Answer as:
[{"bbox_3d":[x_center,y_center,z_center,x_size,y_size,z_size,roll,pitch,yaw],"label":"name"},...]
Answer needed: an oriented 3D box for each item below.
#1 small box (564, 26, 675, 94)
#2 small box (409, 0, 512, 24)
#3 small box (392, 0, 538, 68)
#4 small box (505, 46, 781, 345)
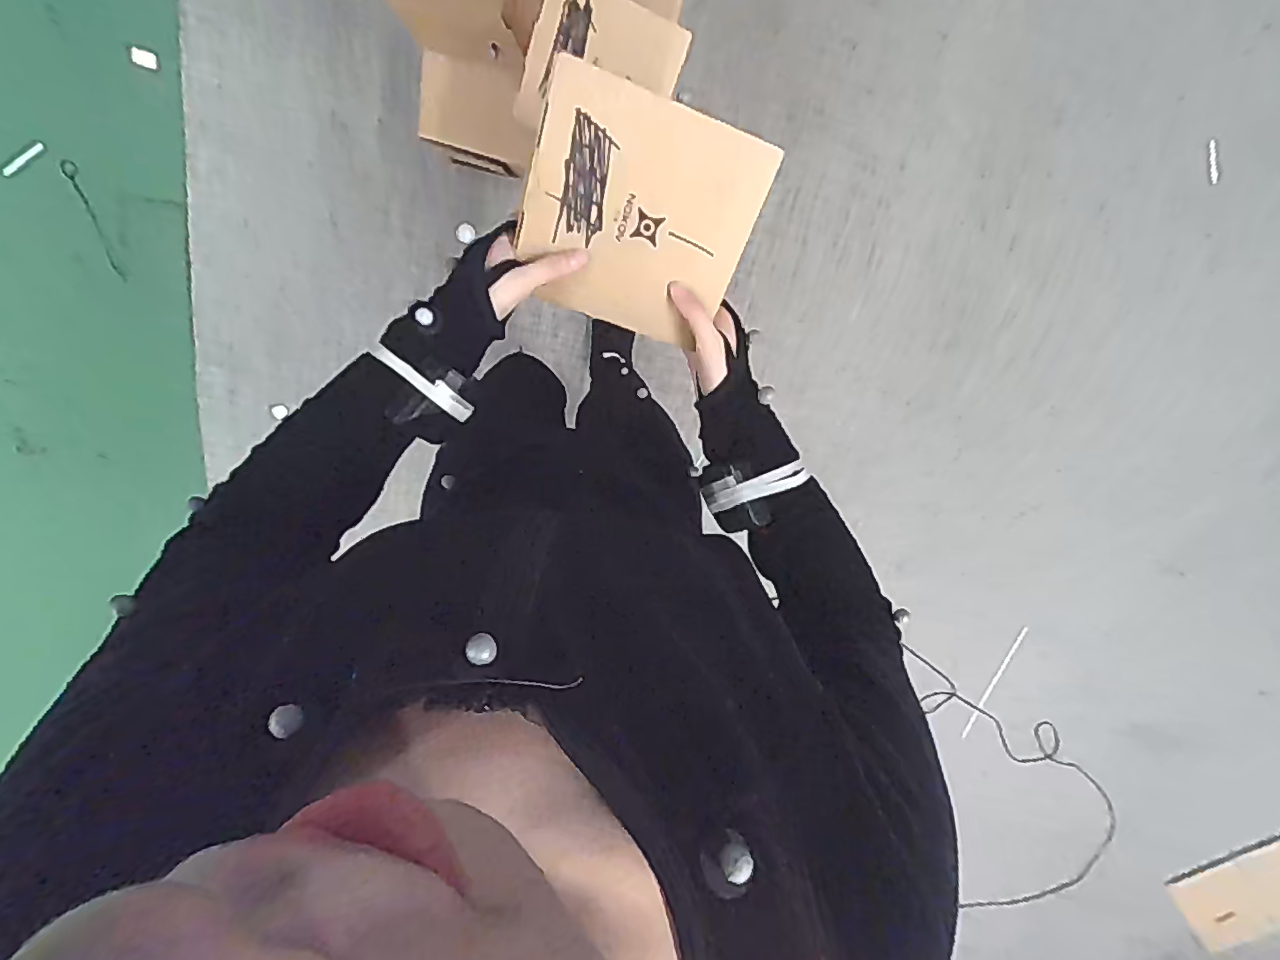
[{"bbox_3d":[-0.055,-0.571,0.876,0.168,0.176,0.179,16,109,-8],"label":"small box"},{"bbox_3d":[-0.249,-0.700,0.651,0.179,0.176,0.168,11,108,-7],"label":"small box"},{"bbox_3d":[-0.248,-0.751,0.805,0.179,0.176,0.168,10,108,-5],"label":"small box"},{"bbox_3d":[-0.005,-0.249,0.491,0.179,0.176,0.168,17,121,-12],"label":"small box"}]
